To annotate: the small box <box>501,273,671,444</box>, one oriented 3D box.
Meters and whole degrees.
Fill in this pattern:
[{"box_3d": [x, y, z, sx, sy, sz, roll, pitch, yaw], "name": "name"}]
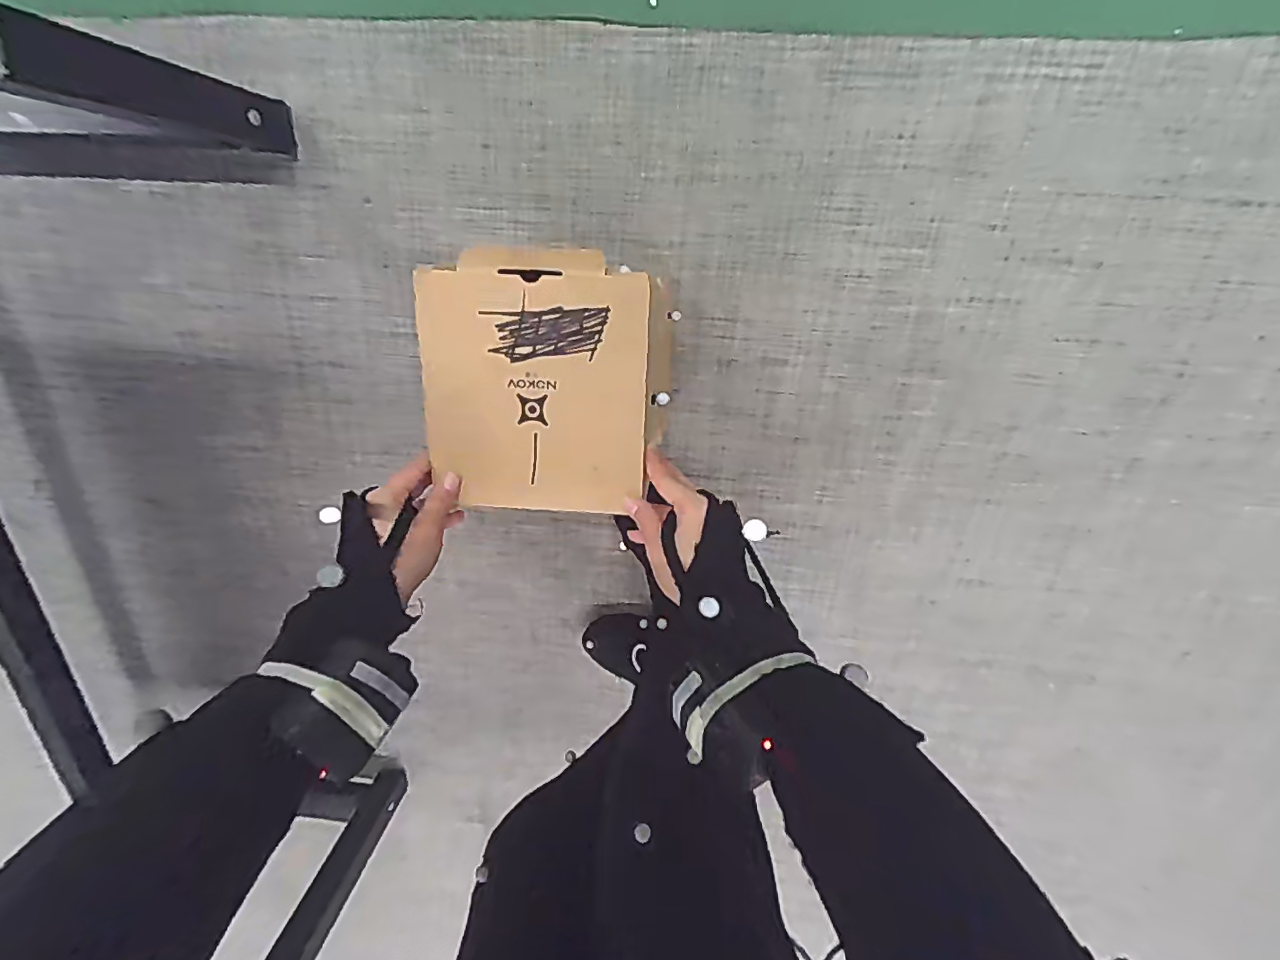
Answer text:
[{"box_3d": [-0.051, -0.151, 0.641, 0.168, 0.176, 0.179, 1, 113, 6], "name": "small box"}]
